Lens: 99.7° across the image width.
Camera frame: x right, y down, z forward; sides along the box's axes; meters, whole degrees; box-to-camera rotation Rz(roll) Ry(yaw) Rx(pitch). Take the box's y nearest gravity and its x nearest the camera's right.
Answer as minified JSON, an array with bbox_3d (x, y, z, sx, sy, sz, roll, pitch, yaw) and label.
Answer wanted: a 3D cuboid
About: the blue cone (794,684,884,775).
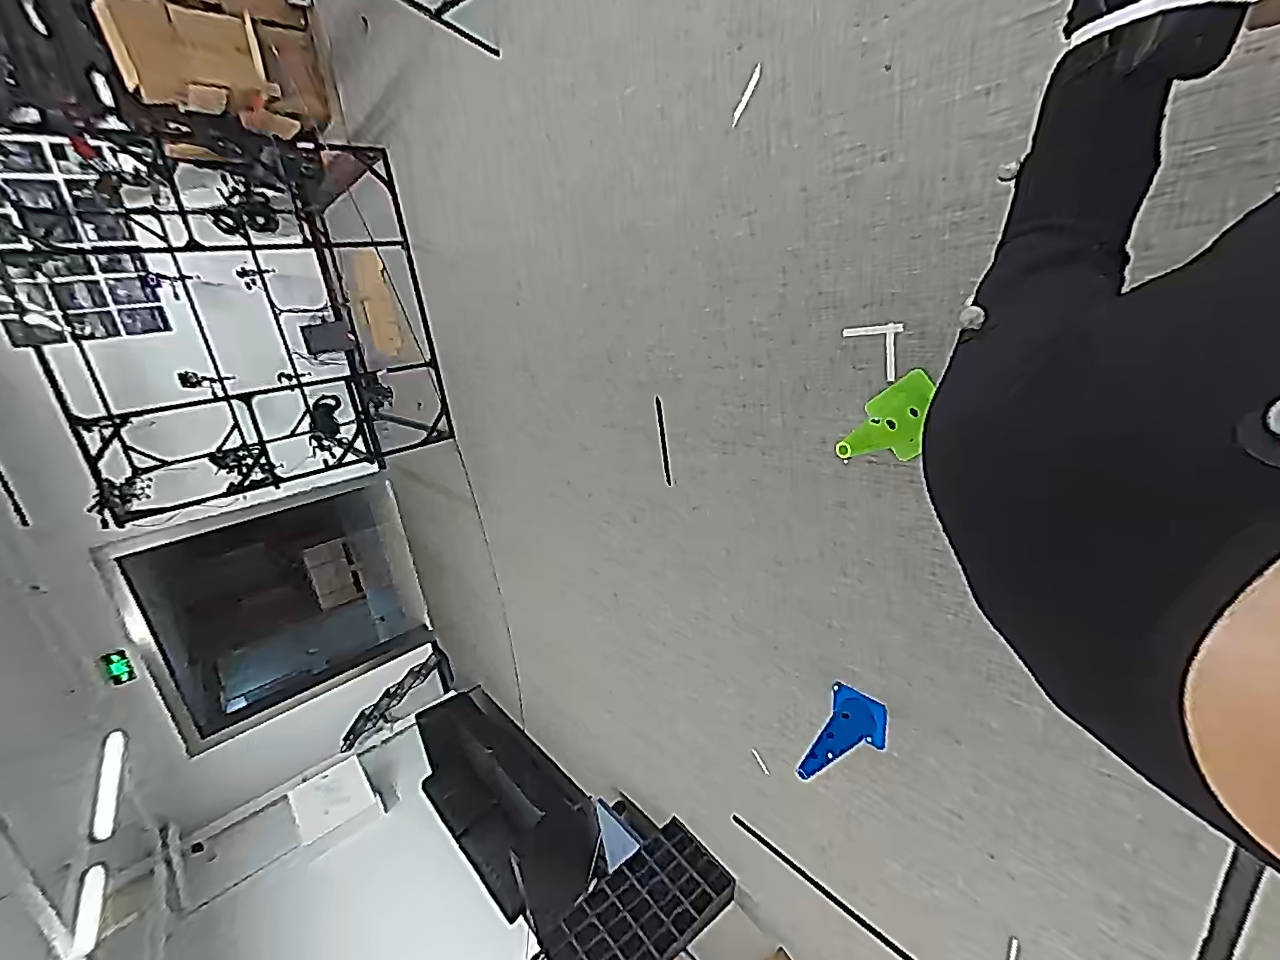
[{"bbox_3d":[0.668,0.900,1.871,0.192,0.380,0.193,19,122,48],"label":"blue cone"}]

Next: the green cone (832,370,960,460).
[{"bbox_3d":[0.616,-0.125,1.394,0.200,0.368,0.202,61,145,12],"label":"green cone"}]

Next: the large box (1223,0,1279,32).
[{"bbox_3d":[0.564,-0.458,0.220,0.408,0.320,0.320,18,126,45],"label":"large box"}]
